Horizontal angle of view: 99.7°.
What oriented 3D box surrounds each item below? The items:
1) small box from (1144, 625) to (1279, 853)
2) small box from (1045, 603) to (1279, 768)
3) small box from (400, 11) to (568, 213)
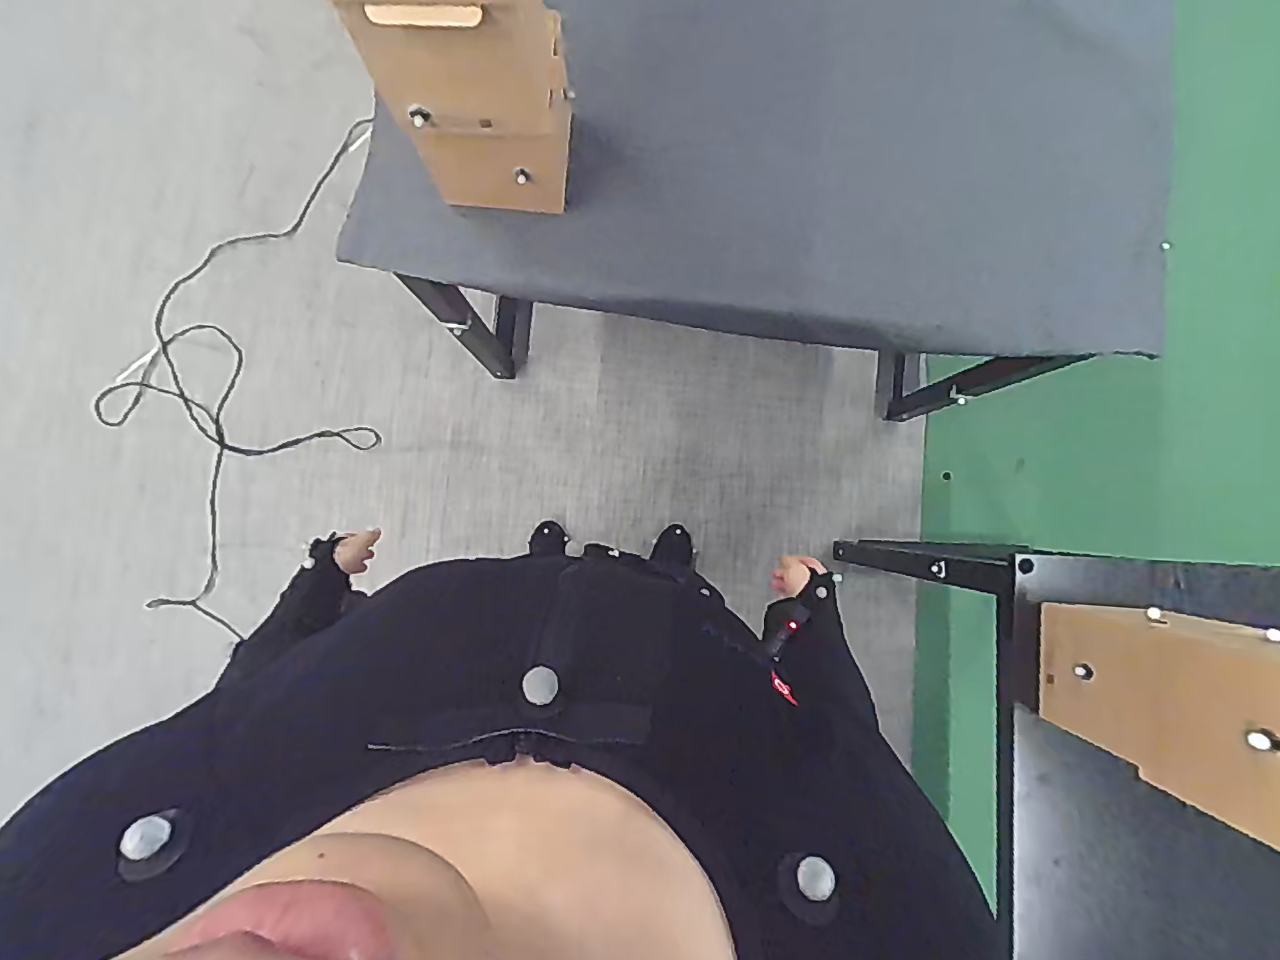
[{"bbox_3d":[0.652,0.253,0.534,0.168,0.176,0.179,4,86,-1],"label":"small box"},{"bbox_3d":[0.665,0.258,0.696,0.179,0.176,0.168,4,87,-1],"label":"small box"},{"bbox_3d":[-0.195,-0.484,0.727,0.179,0.176,0.168,3,84,0],"label":"small box"}]
